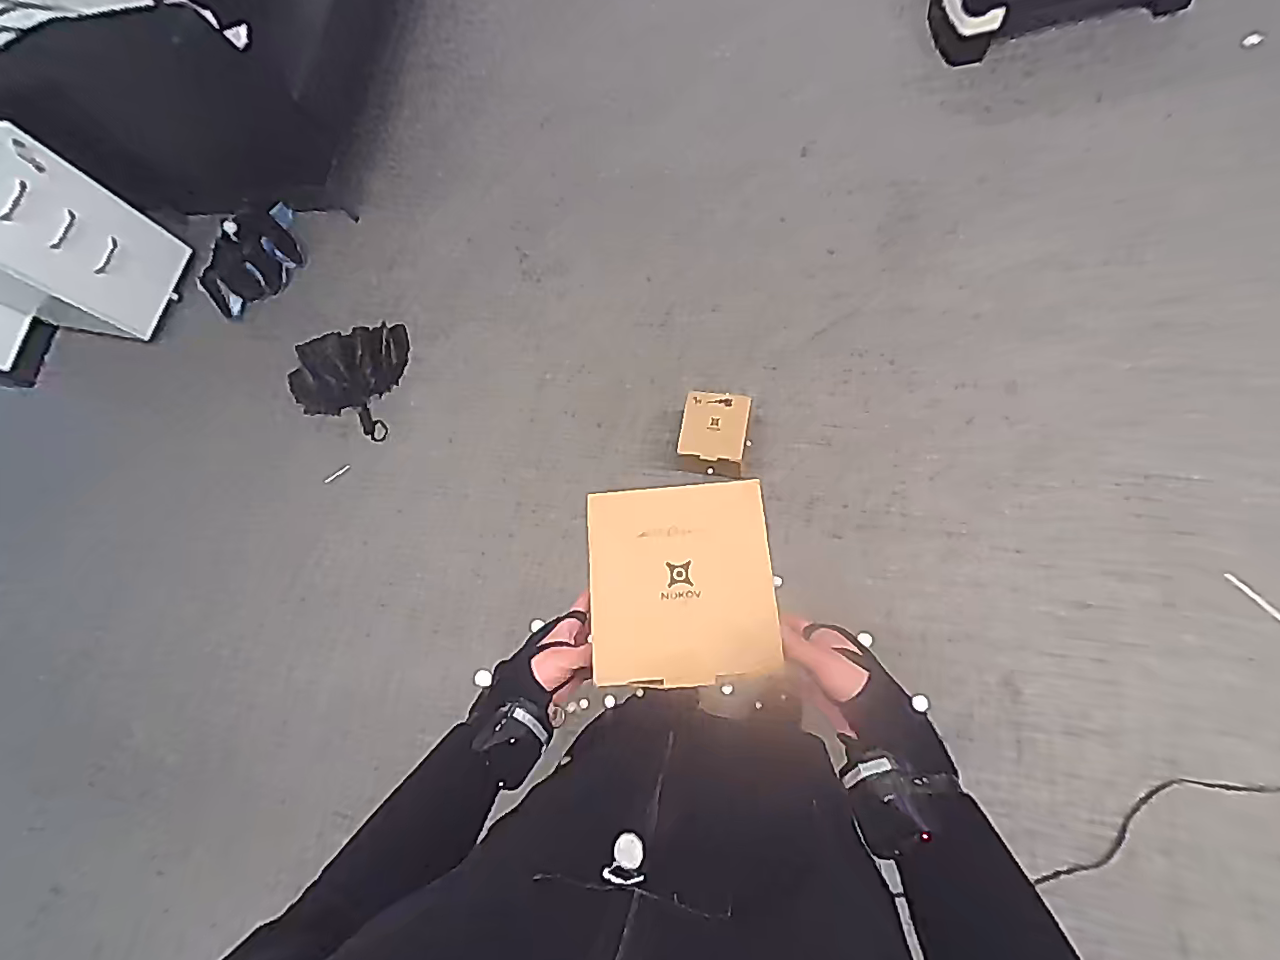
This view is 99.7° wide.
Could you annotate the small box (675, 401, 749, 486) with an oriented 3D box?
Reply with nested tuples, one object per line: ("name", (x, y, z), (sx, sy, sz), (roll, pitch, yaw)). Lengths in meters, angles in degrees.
("small box", (0.199, -0.092, 1.454), (0.168, 0.176, 0.179), (8, 76, 14))

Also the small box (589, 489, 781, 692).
("small box", (0.041, 0.122, 0.567), (0.168, 0.176, 0.179), (-5, 69, 1))
